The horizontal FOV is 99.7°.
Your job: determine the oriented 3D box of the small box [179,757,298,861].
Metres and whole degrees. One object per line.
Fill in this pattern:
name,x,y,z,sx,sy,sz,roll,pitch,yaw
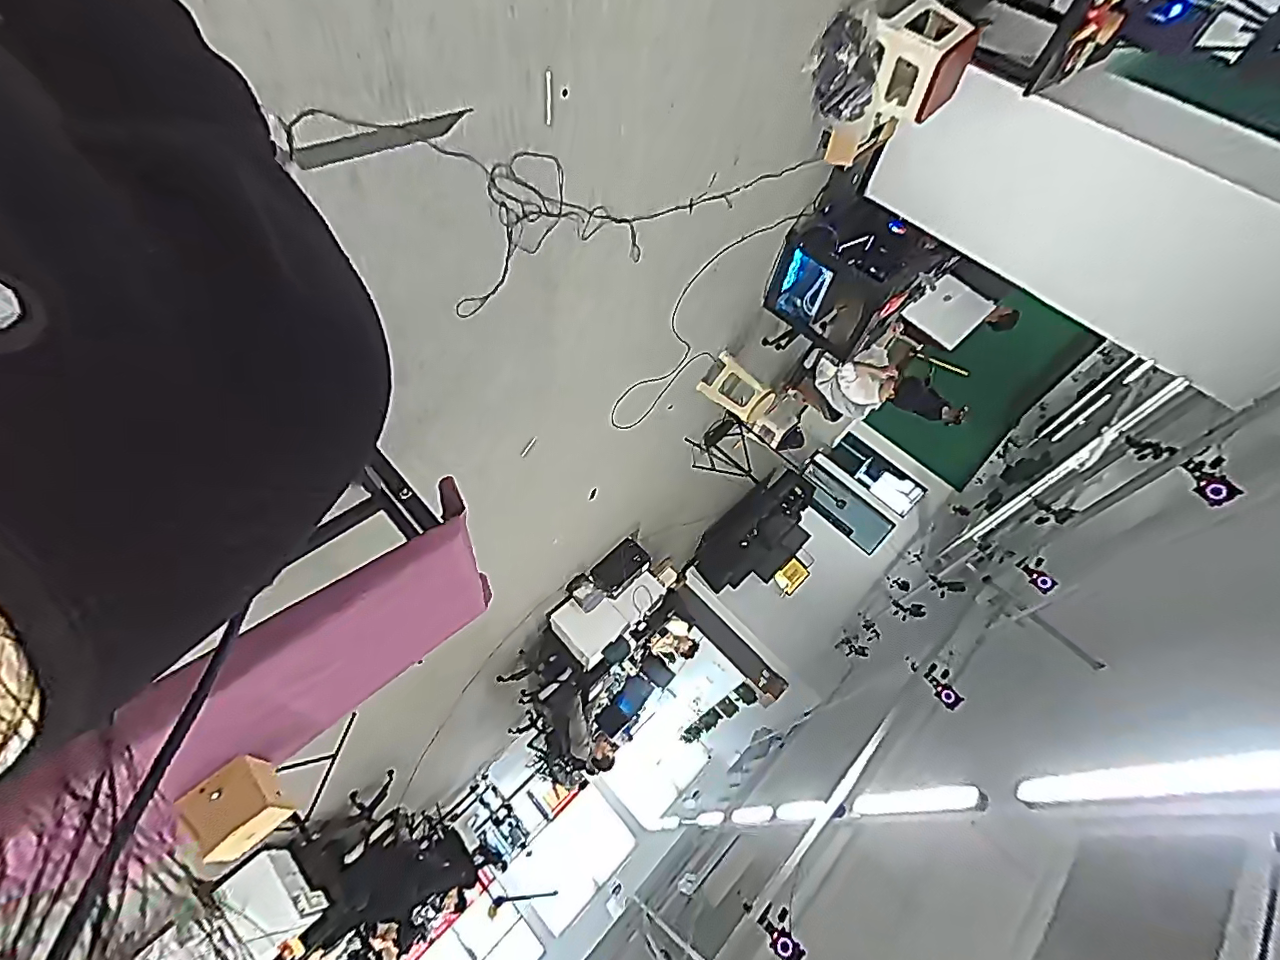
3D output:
small box,-1.062,0.870,1.437,0.168,0.176,0.179,-38,158,-28
